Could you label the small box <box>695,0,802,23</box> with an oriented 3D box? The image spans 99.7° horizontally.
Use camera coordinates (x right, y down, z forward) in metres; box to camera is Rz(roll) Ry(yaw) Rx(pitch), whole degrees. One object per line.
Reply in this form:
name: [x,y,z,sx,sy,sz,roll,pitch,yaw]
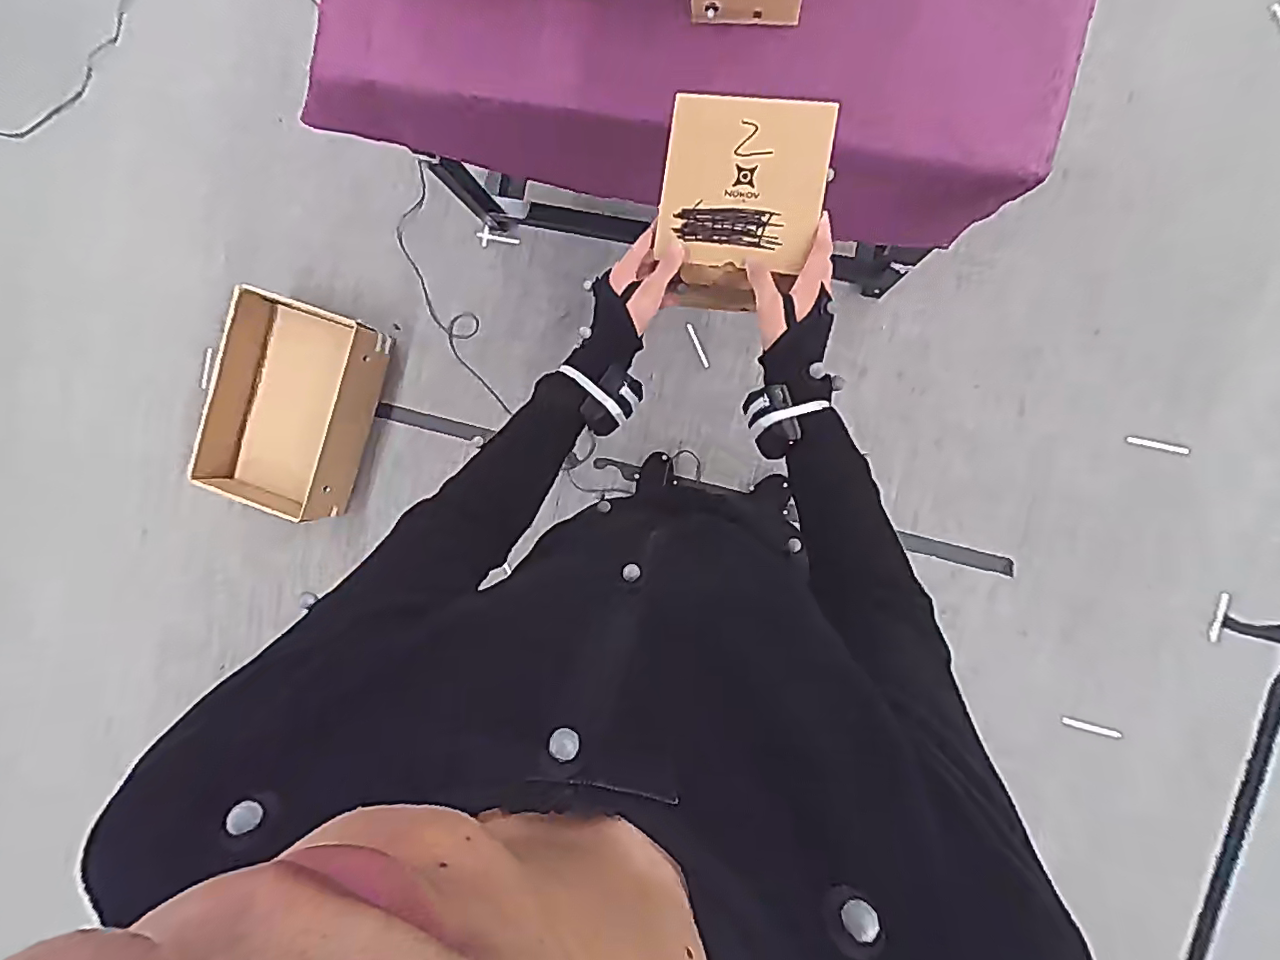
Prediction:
small box: [0.165,-0.794,0.760,0.168,0.176,0.179,8,93,7]
